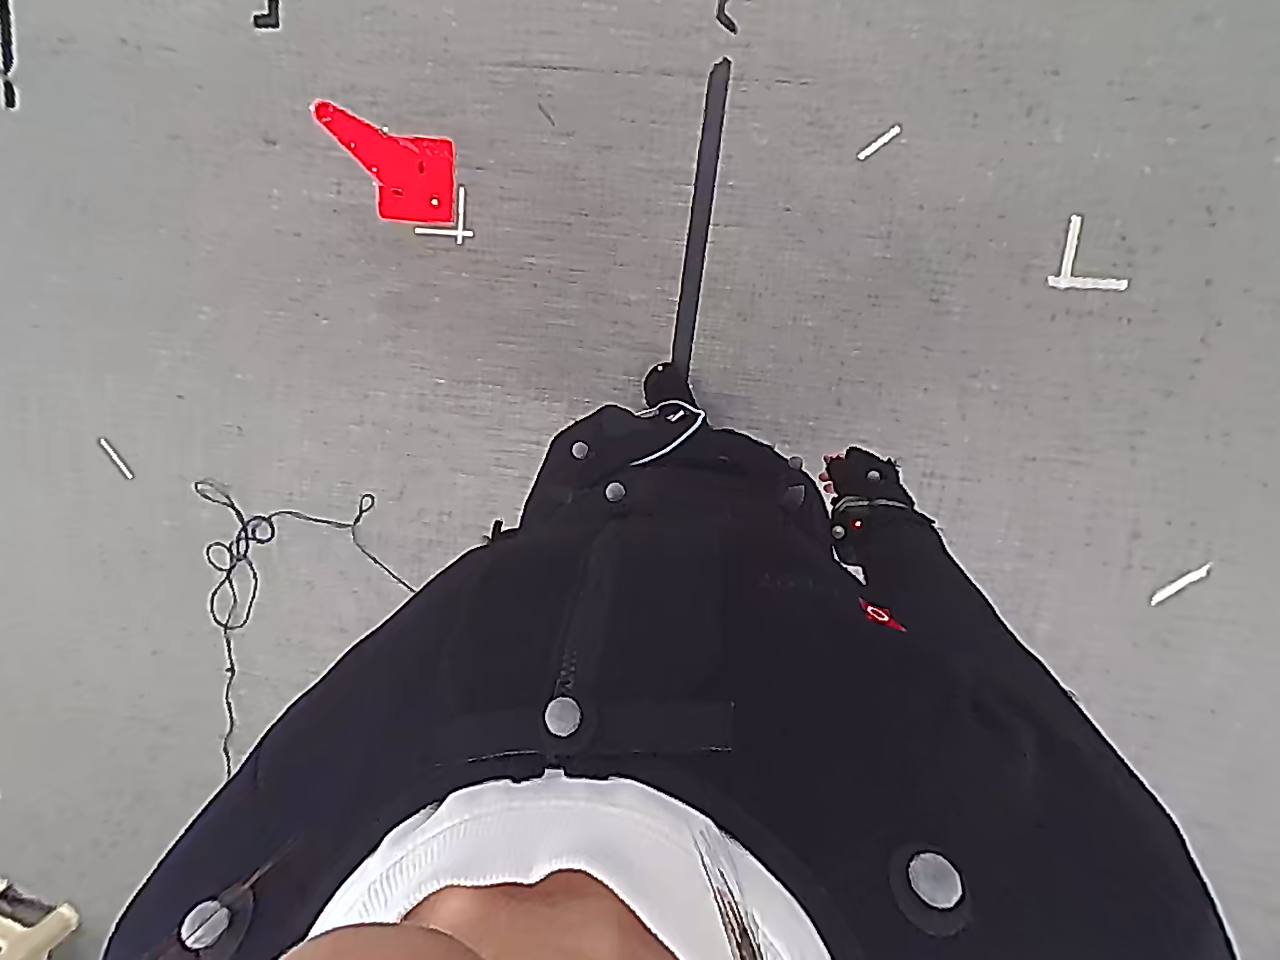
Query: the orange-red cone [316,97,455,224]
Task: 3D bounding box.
[{"bbox_3d":[-0.576,-0.728,1.185,0.198,0.360,0.199,7,99,4],"label":"orange-red cone"}]
